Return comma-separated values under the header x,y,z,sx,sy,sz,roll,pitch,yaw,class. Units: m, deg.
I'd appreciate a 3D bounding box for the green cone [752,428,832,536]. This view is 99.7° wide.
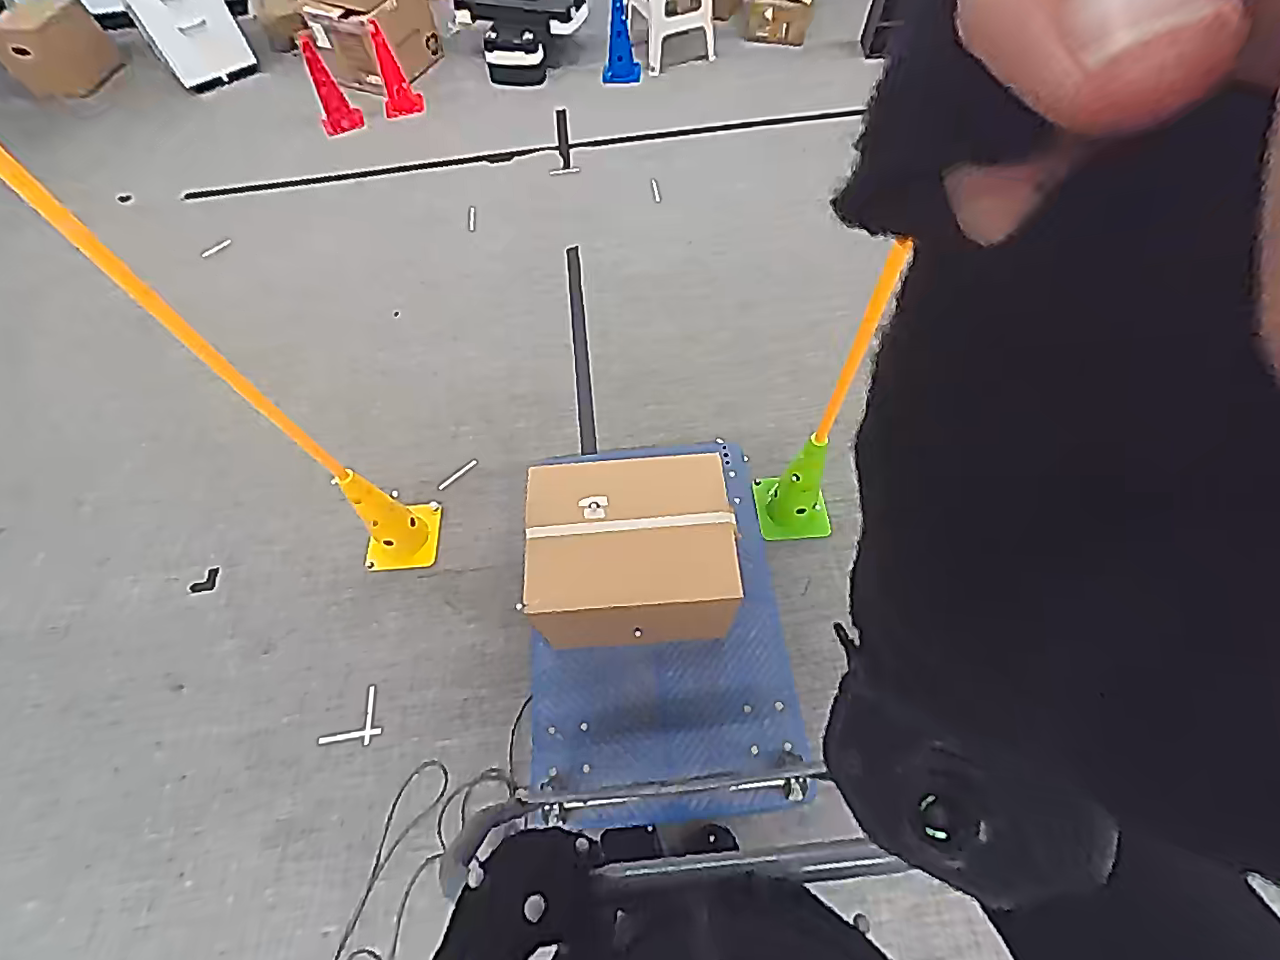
x,y,z,sx,sy,sz,roll,pitch,yaw,class
0.434,-0.015,1.434,0.202,0.368,0.200,-4,61,-1,green cone

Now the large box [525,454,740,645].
x,y,z,sx,sy,sz,roll,pitch,yaw,class
-0.015,0.166,1.191,0.408,0.320,0.320,-5,61,1,large box
